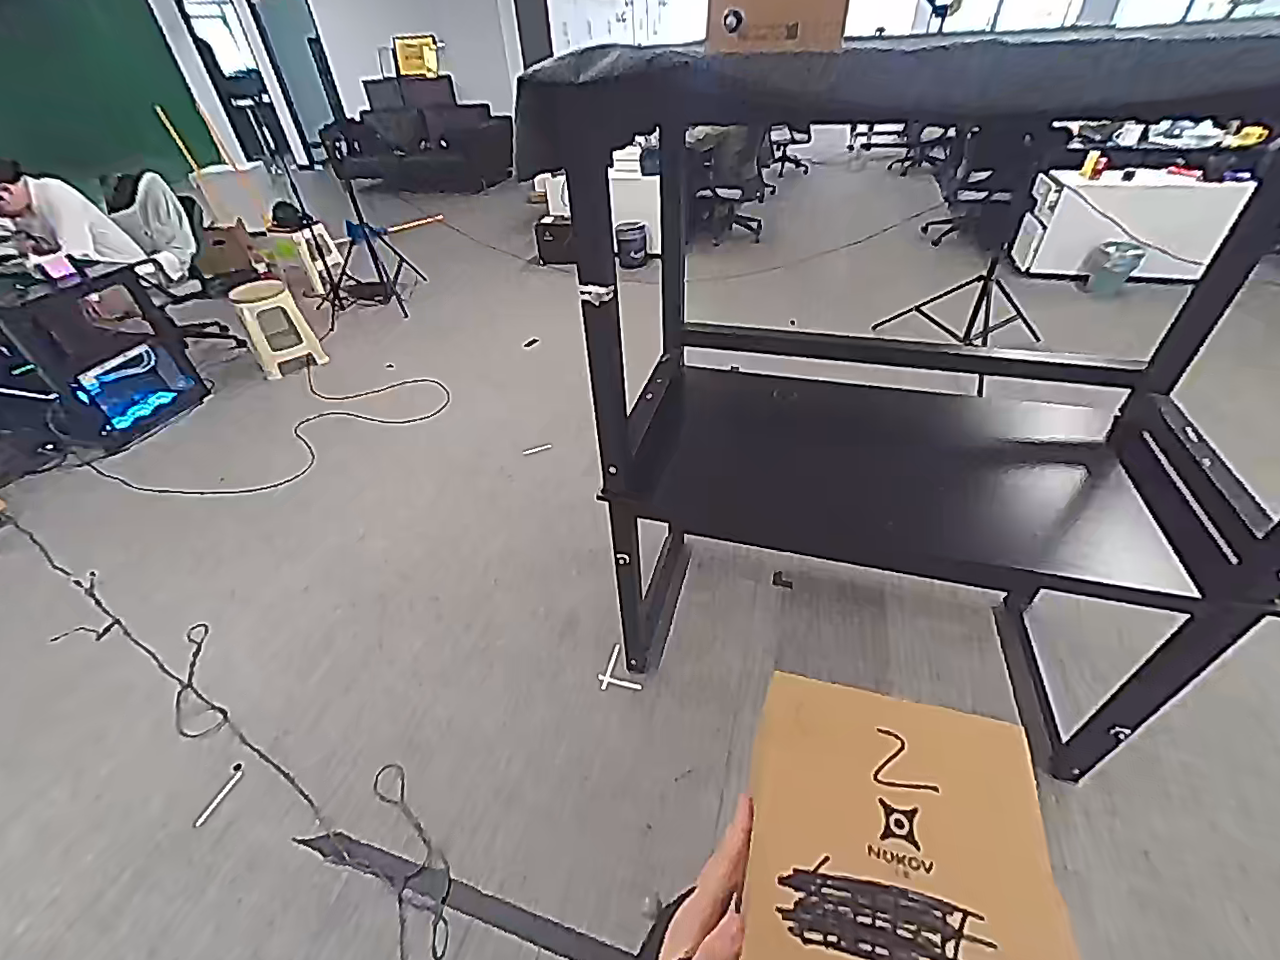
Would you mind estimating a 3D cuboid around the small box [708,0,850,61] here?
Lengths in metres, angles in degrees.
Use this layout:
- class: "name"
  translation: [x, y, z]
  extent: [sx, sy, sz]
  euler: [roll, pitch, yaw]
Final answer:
- class: "small box"
  translation: [0.178, -0.630, 0.668]
  extent: [0.168, 0.176, 0.179]
  euler: [8, 39, 11]
